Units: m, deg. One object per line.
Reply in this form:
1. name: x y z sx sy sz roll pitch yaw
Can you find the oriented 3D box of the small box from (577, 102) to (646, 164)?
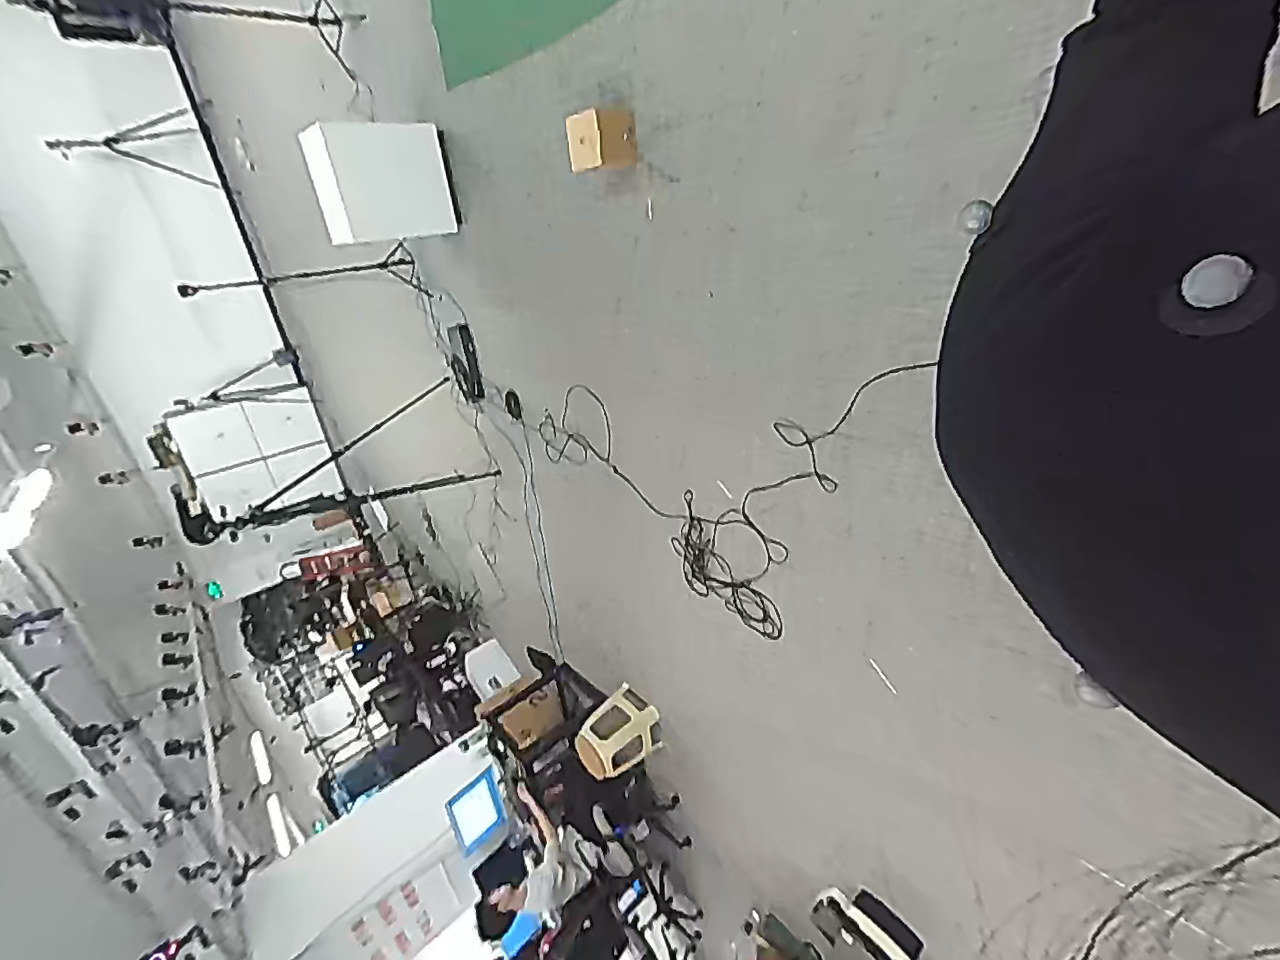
1. small box: -0.098 -1.219 1.910 0.179 0.176 0.168 22 128 44
